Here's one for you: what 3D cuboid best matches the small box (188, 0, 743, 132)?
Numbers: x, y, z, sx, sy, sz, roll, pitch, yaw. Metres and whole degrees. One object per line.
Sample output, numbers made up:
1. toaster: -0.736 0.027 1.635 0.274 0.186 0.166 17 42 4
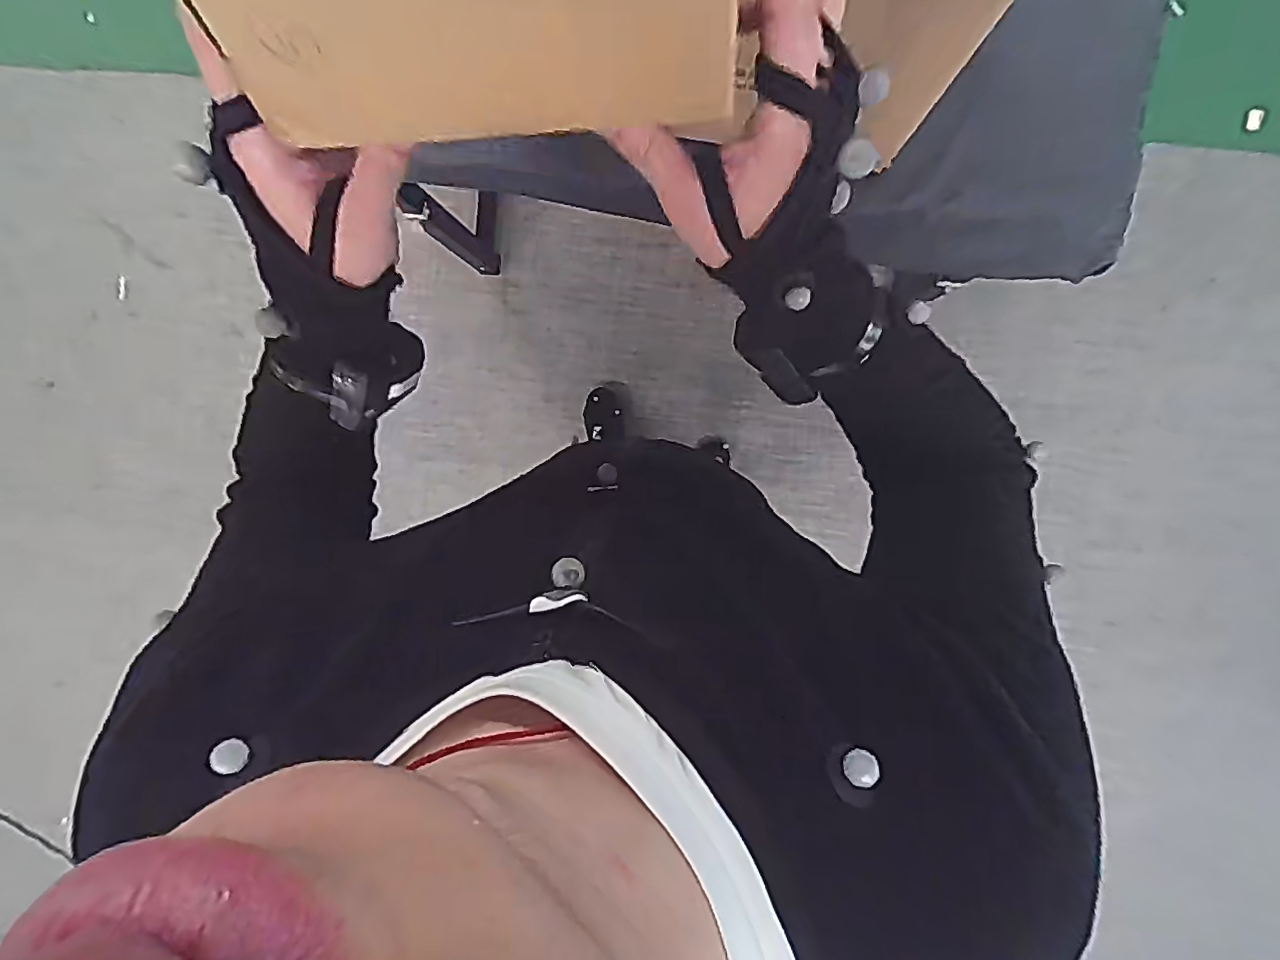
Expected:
1. small box: -0.057 -0.241 0.163 0.179 0.168 0.176 -2 62 5
